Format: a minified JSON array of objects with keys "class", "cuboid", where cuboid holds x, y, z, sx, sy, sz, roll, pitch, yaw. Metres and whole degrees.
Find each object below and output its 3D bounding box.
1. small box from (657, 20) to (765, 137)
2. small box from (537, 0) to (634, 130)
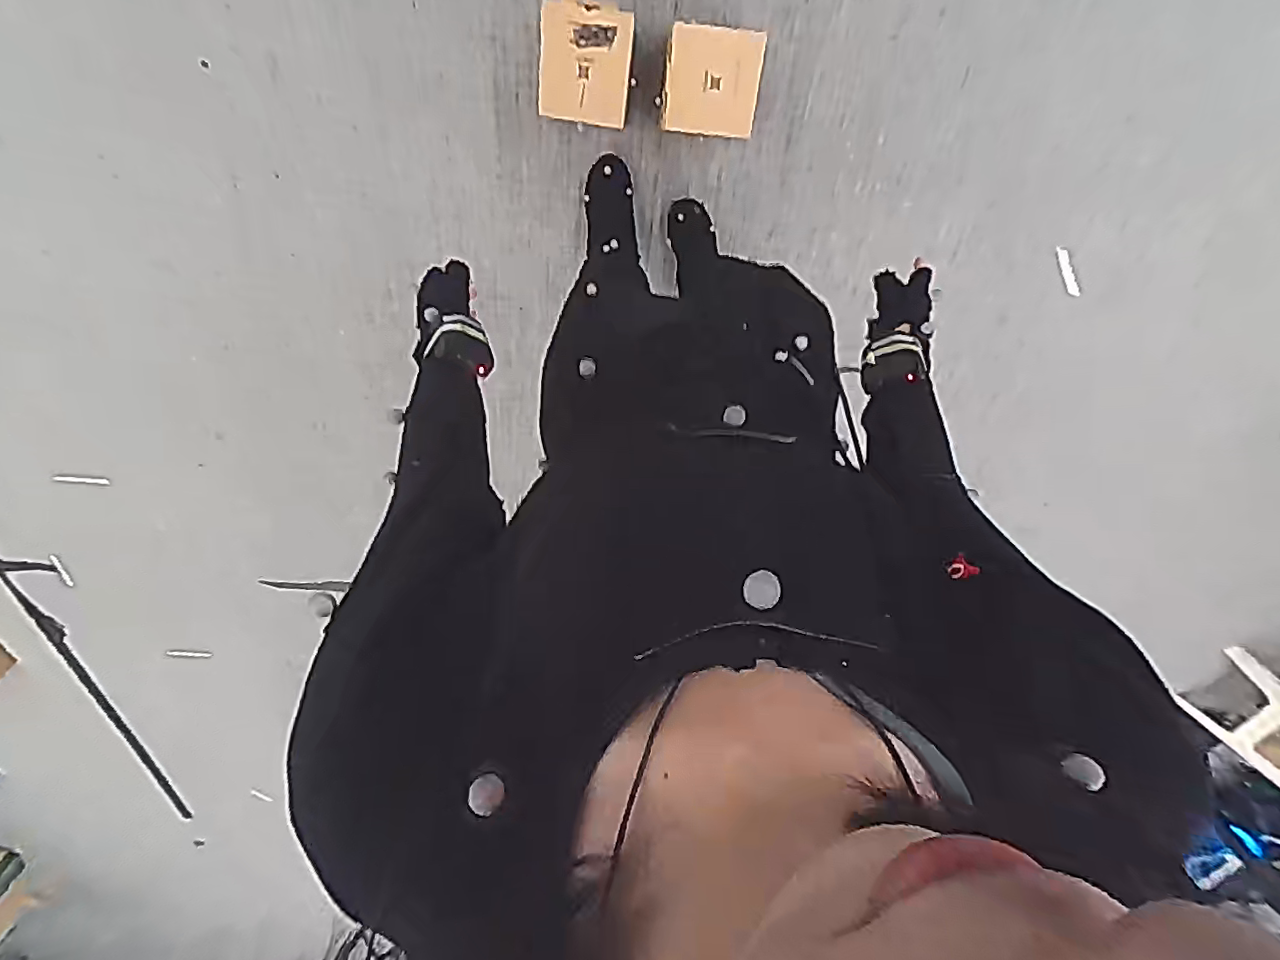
[{"class":"small box","cuboid":[0.130,-0.794,1.081,0.179,0.176,0.168,2,126,-5]},{"class":"small box","cuboid":[-0.107,-0.807,1.061,0.168,0.176,0.179,6,125,-6]}]
